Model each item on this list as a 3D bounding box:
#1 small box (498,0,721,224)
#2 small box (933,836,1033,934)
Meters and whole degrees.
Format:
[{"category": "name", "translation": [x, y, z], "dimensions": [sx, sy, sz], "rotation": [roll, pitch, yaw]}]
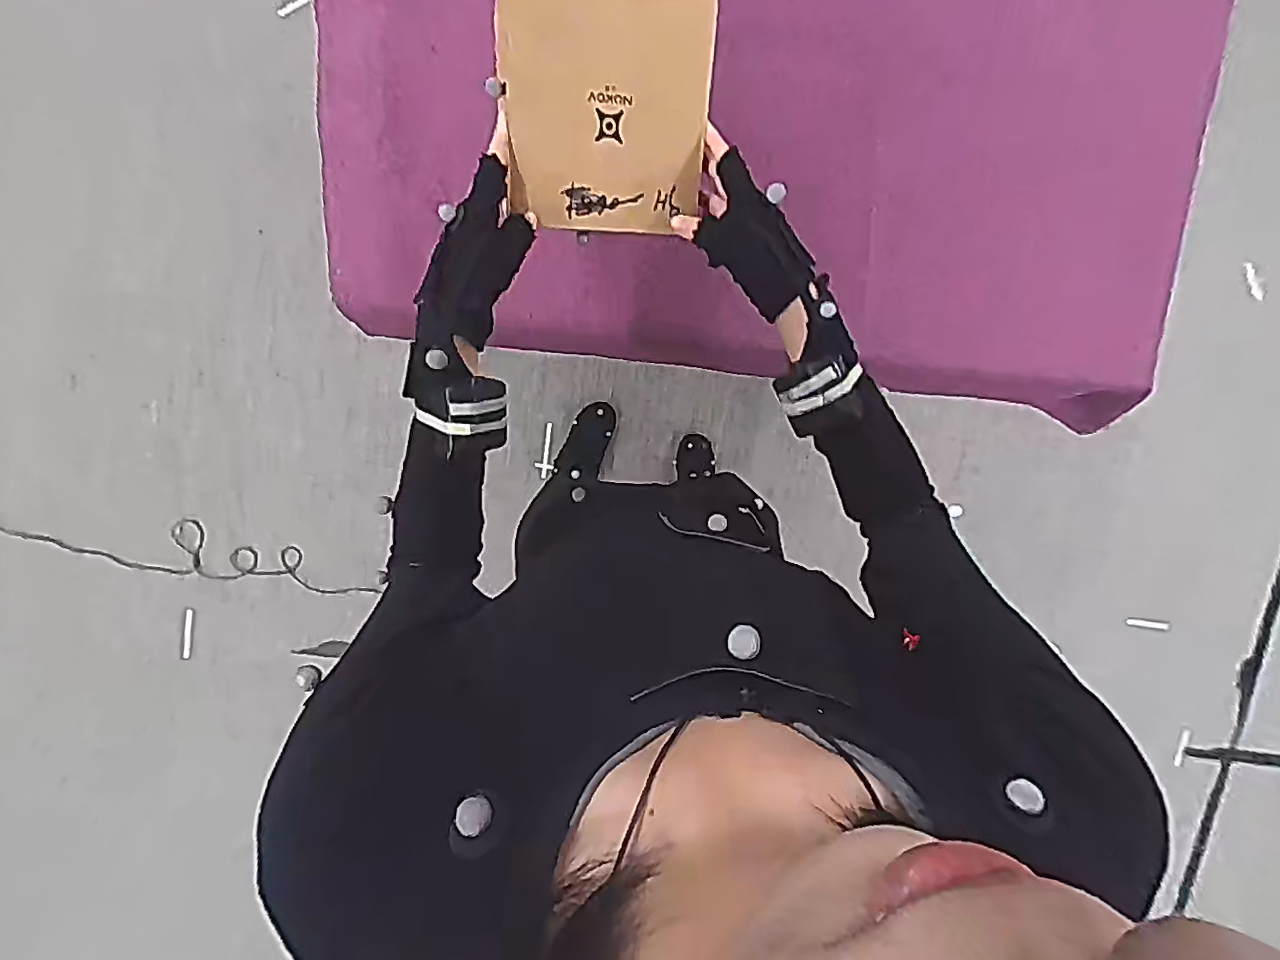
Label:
[{"category": "small box", "translation": [-0.041, -0.344, 0.502], "dimensions": [0.168, 0.176, 0.179], "rotation": [-4, 120, -15]}, {"category": "small box", "translation": [1.093, 1.290, 1.735], "dimensions": [0.179, 0.176, 0.168], "rotation": [24, 94, -8]}]
